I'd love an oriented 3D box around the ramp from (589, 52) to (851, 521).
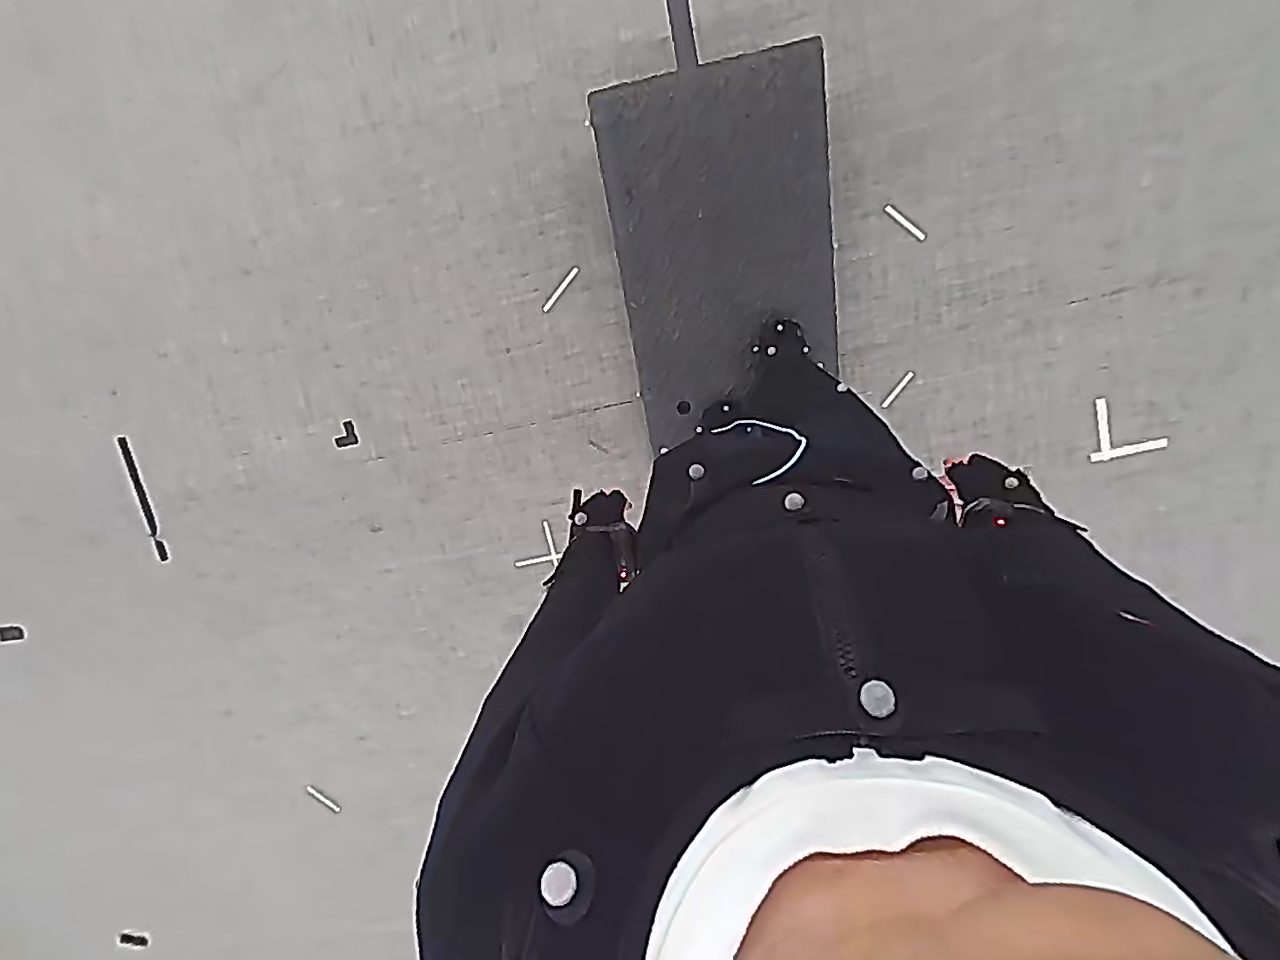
[{"bbox_3d":[0.229,-0.384,1.312,0.509,0.206,0.991,-11,100,8],"label":"ramp"}]
